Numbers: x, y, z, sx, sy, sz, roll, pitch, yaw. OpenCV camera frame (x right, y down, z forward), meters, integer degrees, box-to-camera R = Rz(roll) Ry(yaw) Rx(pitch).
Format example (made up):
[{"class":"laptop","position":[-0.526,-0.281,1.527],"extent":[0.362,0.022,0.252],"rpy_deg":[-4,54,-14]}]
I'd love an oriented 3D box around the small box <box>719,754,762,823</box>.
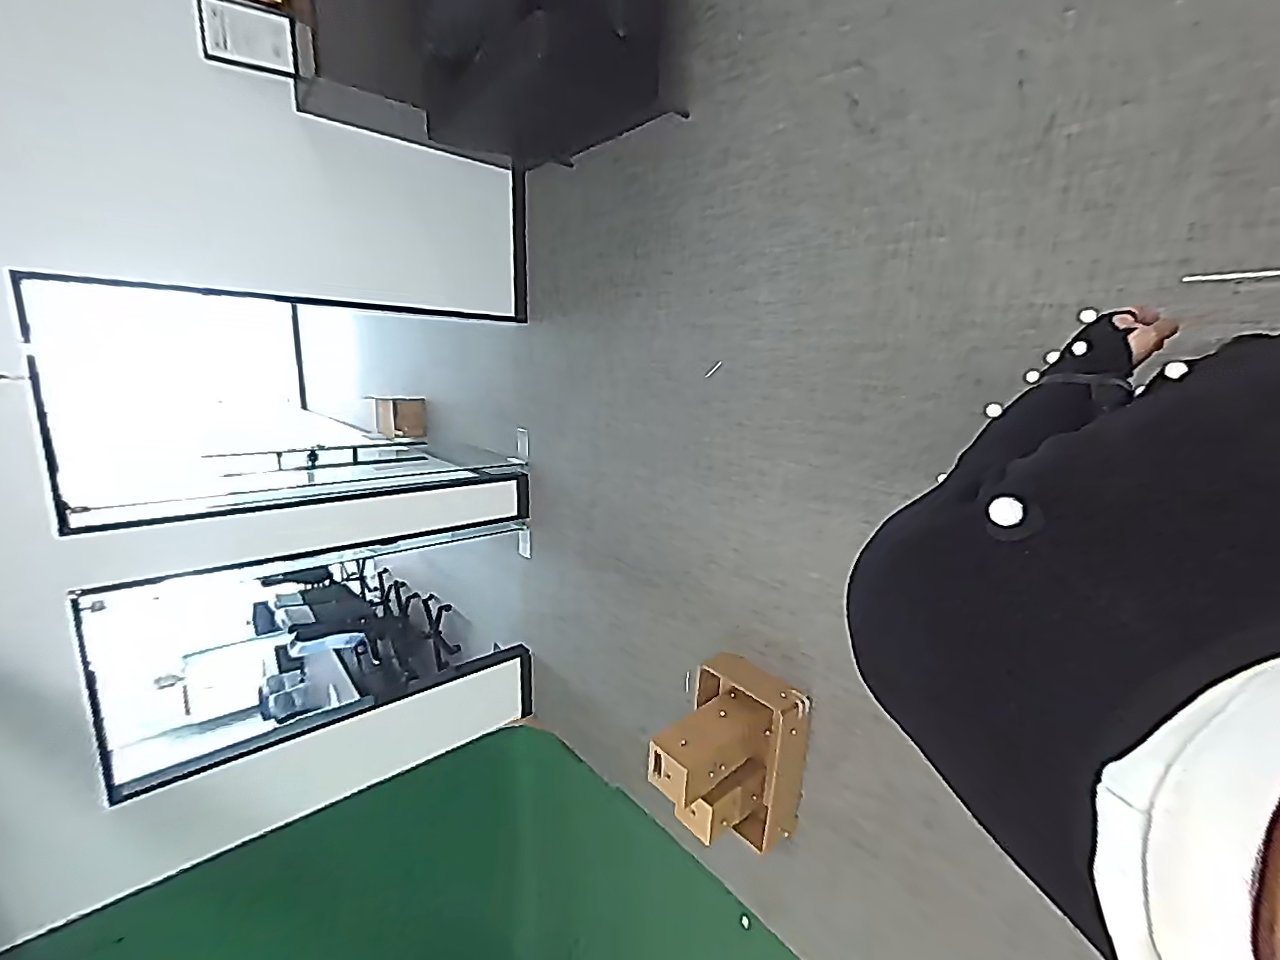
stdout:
[{"class":"small box","position":[0.359,1.190,2.130],"extent":[0.179,0.176,0.168],"rpy_deg":[17,108,46]}]

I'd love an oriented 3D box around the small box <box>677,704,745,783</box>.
[{"class":"small box","position":[0.256,0.945,1.964],"extent":[0.179,0.176,0.168],"rpy_deg":[16,110,47]}]

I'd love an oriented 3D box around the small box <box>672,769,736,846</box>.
[{"class":"small box","position":[0.240,1.202,2.022],"extent":[0.179,0.176,0.168],"rpy_deg":[15,107,47]}]
